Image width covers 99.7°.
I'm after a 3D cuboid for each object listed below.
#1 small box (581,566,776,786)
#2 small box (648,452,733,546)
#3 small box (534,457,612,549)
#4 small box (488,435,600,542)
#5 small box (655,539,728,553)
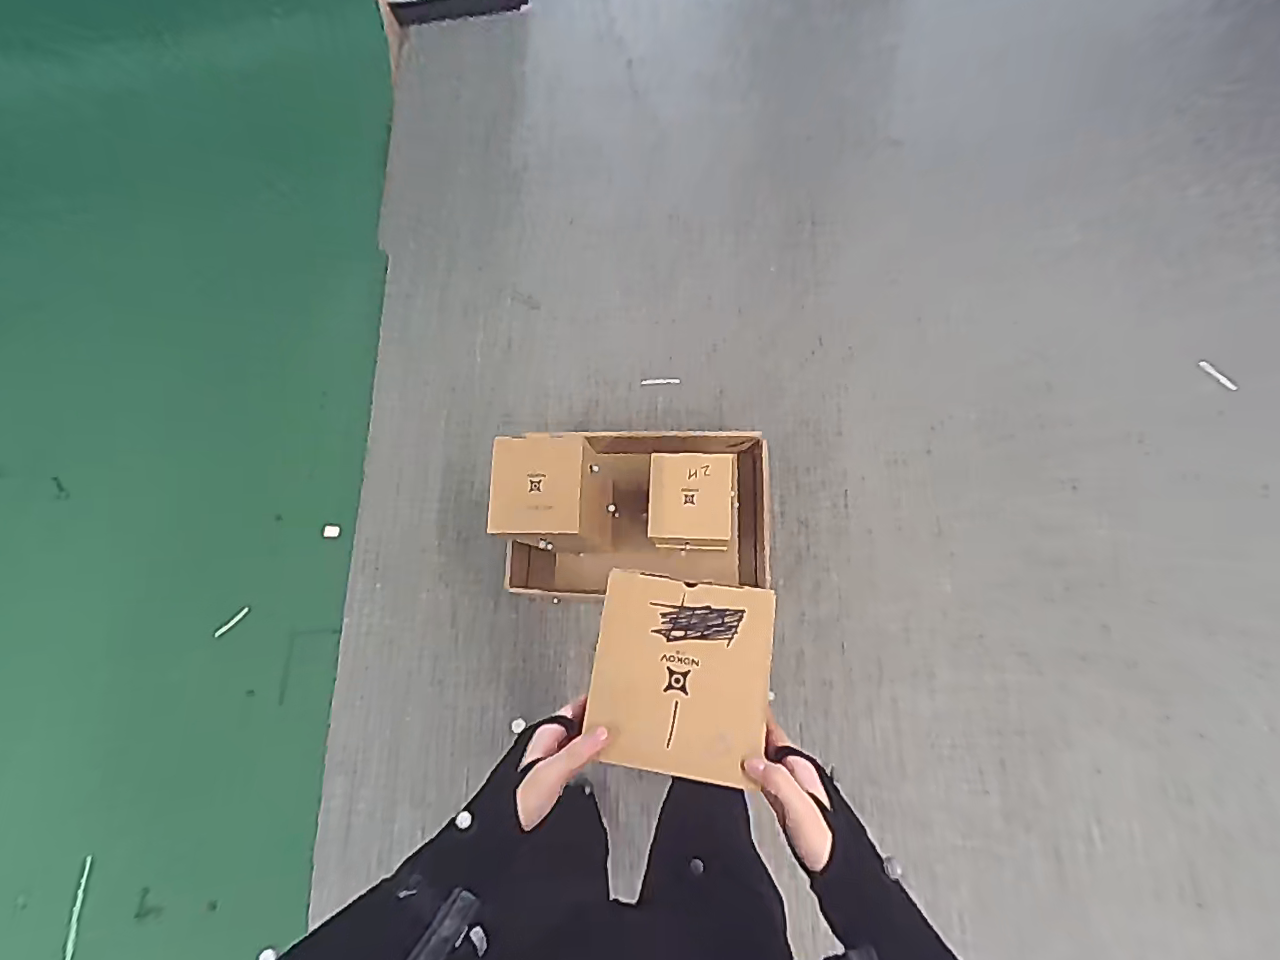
[{"bbox_3d":[0.046,0.205,0.584,0.168,0.176,0.179,7,70,9],"label":"small box"},{"bbox_3d":[0.113,0.047,1.156,0.168,0.176,0.179,2,78,8],"label":"small box"},{"bbox_3d":[-0.157,0.053,1.186,0.168,0.176,0.179,0,78,7],"label":"small box"},{"bbox_3d":[-0.173,0.020,1.027,0.168,0.176,0.179,0,79,7],"label":"small box"},{"bbox_3d":[0.133,0.083,1.316,0.168,0.176,0.179,2,78,8],"label":"small box"}]
